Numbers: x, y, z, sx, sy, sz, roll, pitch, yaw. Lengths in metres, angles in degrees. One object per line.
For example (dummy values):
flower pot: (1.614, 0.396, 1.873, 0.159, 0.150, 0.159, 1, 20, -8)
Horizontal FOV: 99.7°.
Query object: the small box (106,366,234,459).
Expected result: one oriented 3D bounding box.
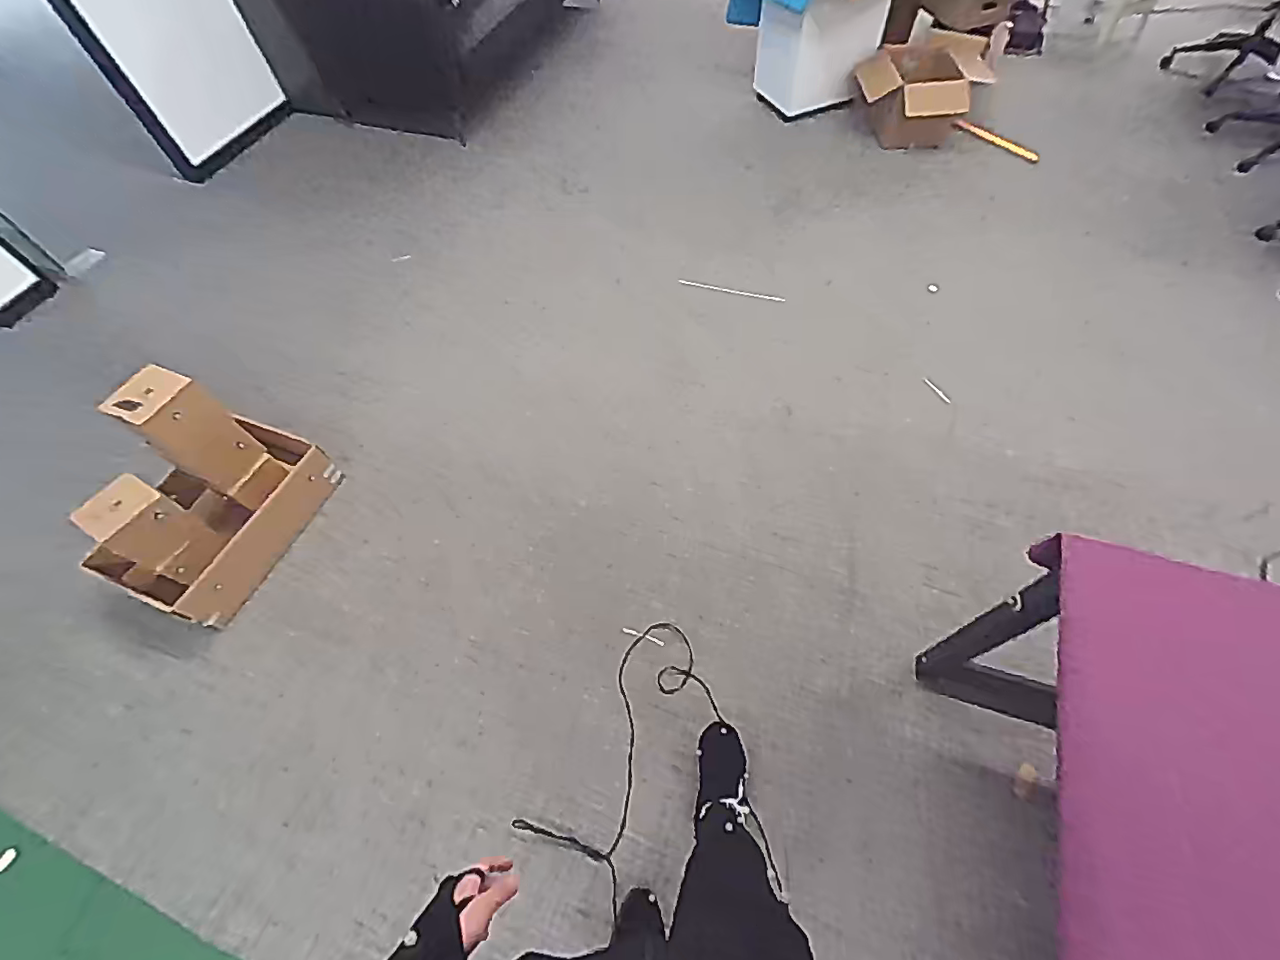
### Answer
small box: (-1.306, -0.185, 1.520, 0.168, 0.176, 0.179, 19, 61, 14)
